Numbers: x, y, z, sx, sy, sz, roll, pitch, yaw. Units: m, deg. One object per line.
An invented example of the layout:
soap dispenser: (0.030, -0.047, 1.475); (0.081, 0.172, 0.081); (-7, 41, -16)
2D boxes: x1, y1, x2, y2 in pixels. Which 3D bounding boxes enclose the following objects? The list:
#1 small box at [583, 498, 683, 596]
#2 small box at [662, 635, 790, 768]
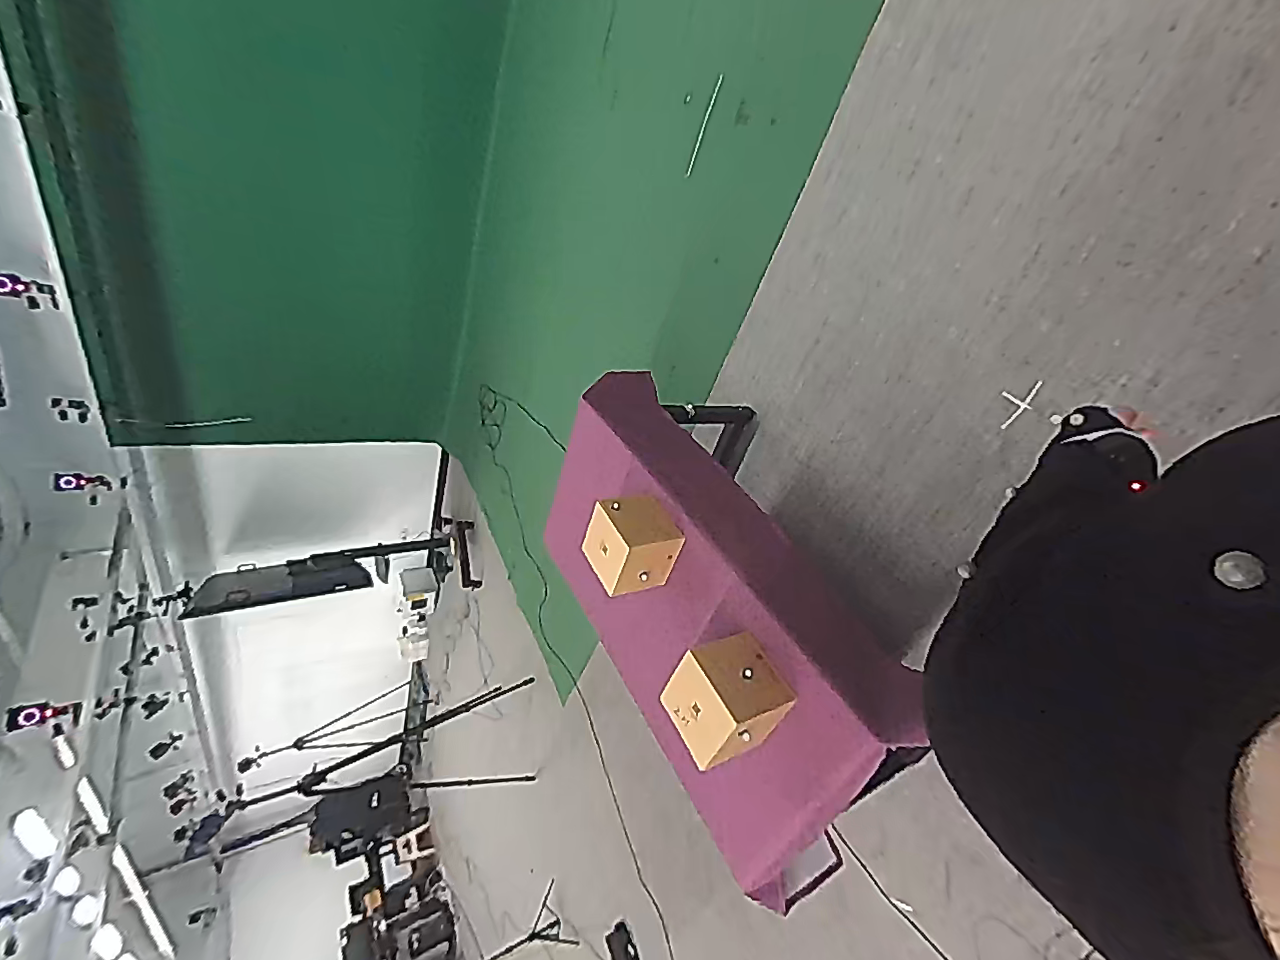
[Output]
small box: (-0.017, 0.159, 1.356); (0.179, 0.176, 0.168); (52, 134, 40)
small box: (0.177, 0.442, 1.101); (0.168, 0.176, 0.179); (54, 135, 39)
